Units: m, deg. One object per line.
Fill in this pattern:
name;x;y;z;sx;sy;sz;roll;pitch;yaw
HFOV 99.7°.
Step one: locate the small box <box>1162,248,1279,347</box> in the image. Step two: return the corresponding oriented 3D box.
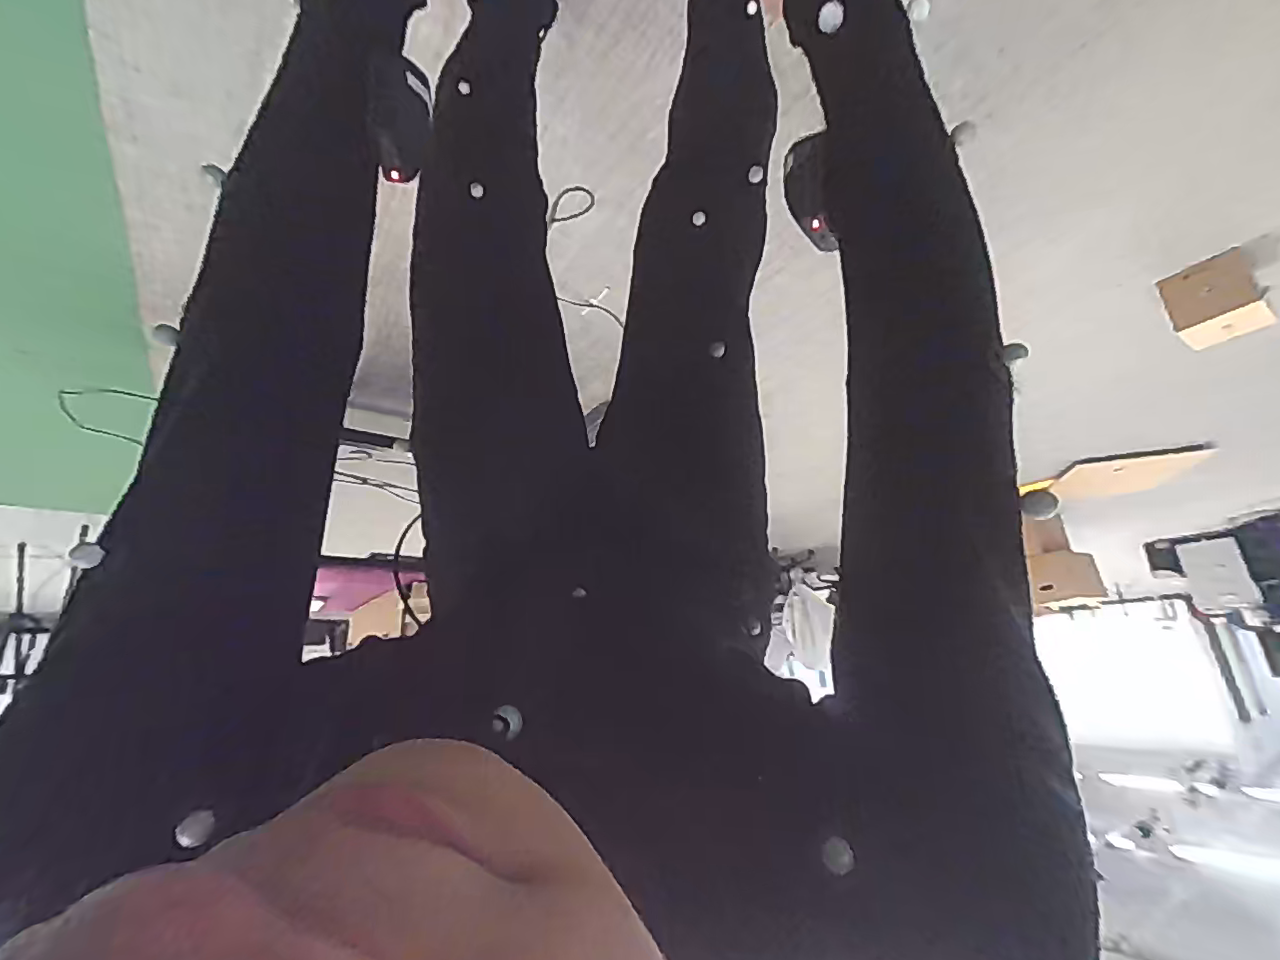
small box;1.557;-0.490;1.450;0.179;0.176;0.168;10;158;-31
